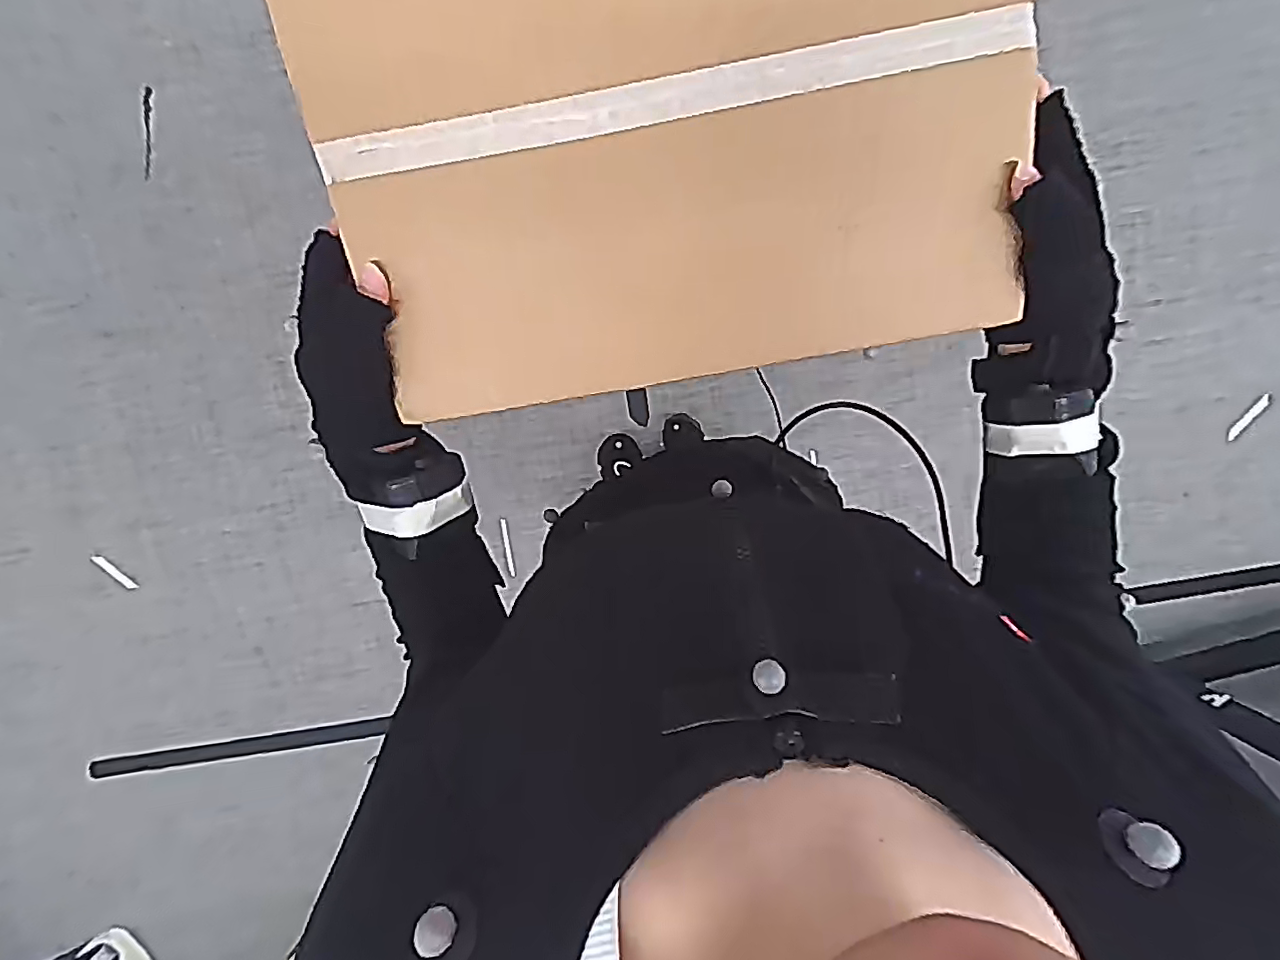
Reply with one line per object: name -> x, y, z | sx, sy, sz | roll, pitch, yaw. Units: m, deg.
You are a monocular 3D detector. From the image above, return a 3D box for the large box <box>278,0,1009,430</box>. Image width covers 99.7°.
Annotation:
large box -> 0.012, -0.258, 0.457 | 0.408, 0.320, 0.320 | -10, 107, 3
